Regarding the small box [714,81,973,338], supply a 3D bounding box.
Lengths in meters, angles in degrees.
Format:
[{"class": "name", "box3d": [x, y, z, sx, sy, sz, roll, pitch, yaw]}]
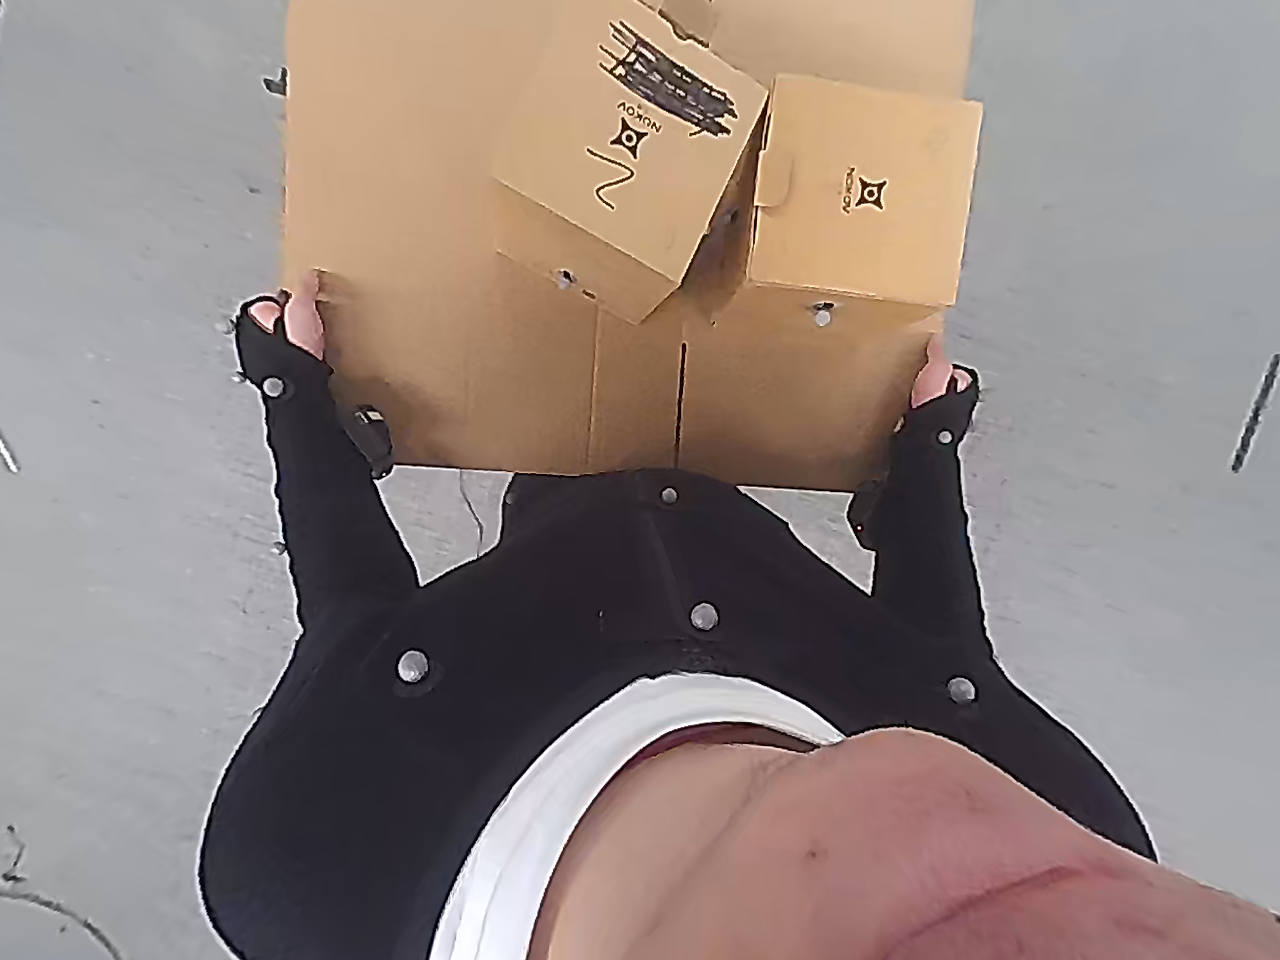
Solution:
[{"class": "small box", "box3d": [0.180, -0.243, 0.531, 0.179, 0.176, 0.168, 6, 93, -2]}]
